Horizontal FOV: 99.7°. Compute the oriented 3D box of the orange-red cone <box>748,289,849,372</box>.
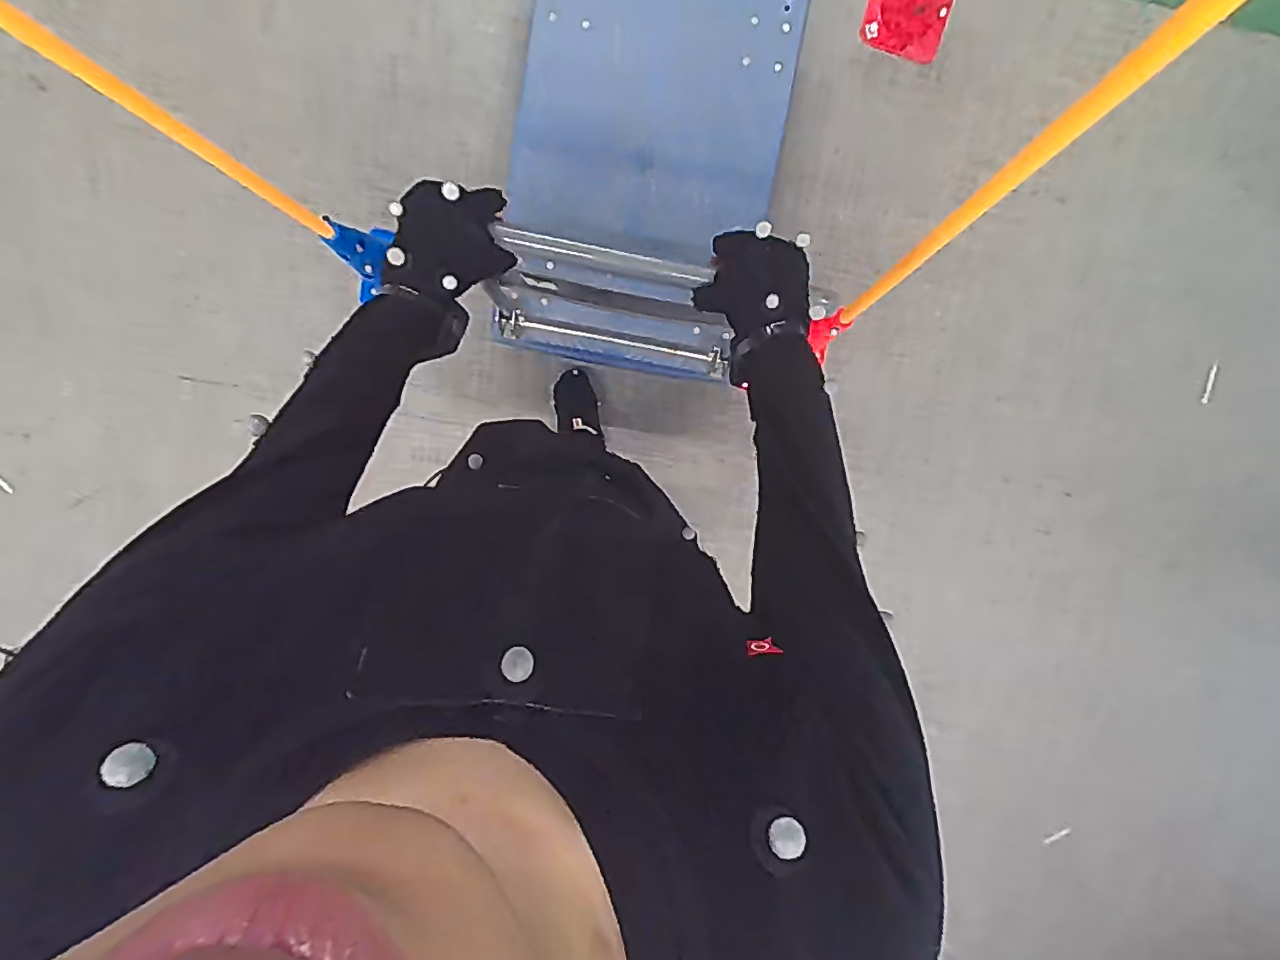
[{"bbox_3d":[0.399,-0.372,1.266,0.199,0.360,0.198,9,98,-2],"label":"orange-red cone"}]
